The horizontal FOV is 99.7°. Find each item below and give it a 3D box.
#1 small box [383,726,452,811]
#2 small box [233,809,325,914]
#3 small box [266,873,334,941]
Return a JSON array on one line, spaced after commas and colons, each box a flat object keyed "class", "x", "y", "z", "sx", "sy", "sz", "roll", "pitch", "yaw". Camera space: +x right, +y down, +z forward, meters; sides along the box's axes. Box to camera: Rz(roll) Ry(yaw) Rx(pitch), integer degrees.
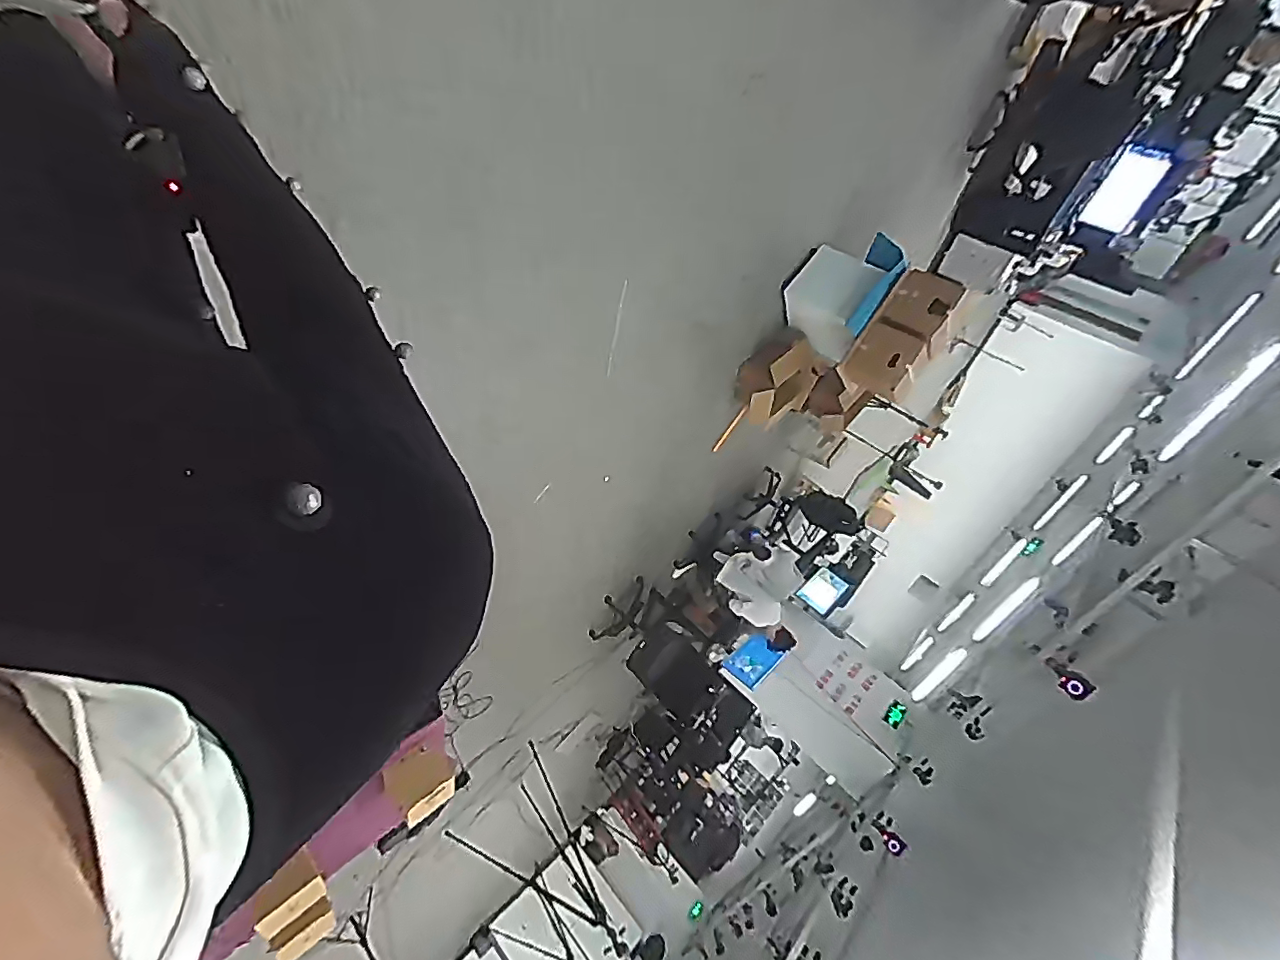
[{"class": "small box", "x": -0.762, "y": 0.977, "z": 1.848, "sx": 0.168, "sy": 0.176, "sz": 0.179, "roll": -25, "pitch": 146, "yaw": -39}, {"class": "small box", "x": -1.055, "y": 1.110, "z": 1.583, "sx": 0.168, "sy": 0.176, "sz": 0.179, "roll": -26, "pitch": 146, "yaw": -40}, {"class": "small box", "x": -1.137, "y": 1.356, "z": 1.782, "sx": 0.168, "sy": 0.176, "sz": 0.179, "roll": -23, "pitch": 142, "yaw": -40}]
